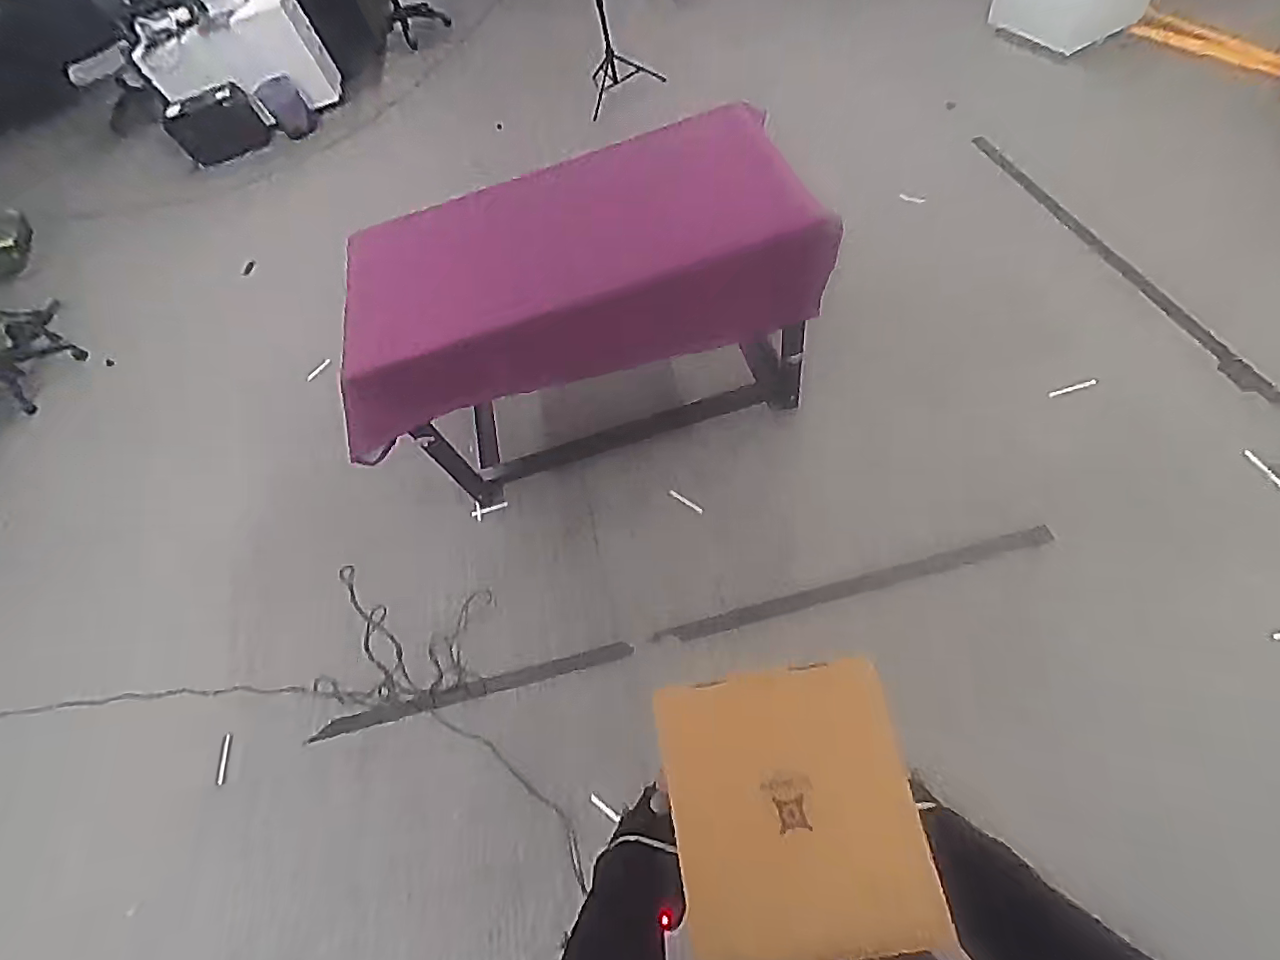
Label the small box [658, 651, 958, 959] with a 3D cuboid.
[{"bbox_3d":[0.116,0.249,0.442,0.168,0.176,0.179,-11,66,3],"label":"small box"}]
